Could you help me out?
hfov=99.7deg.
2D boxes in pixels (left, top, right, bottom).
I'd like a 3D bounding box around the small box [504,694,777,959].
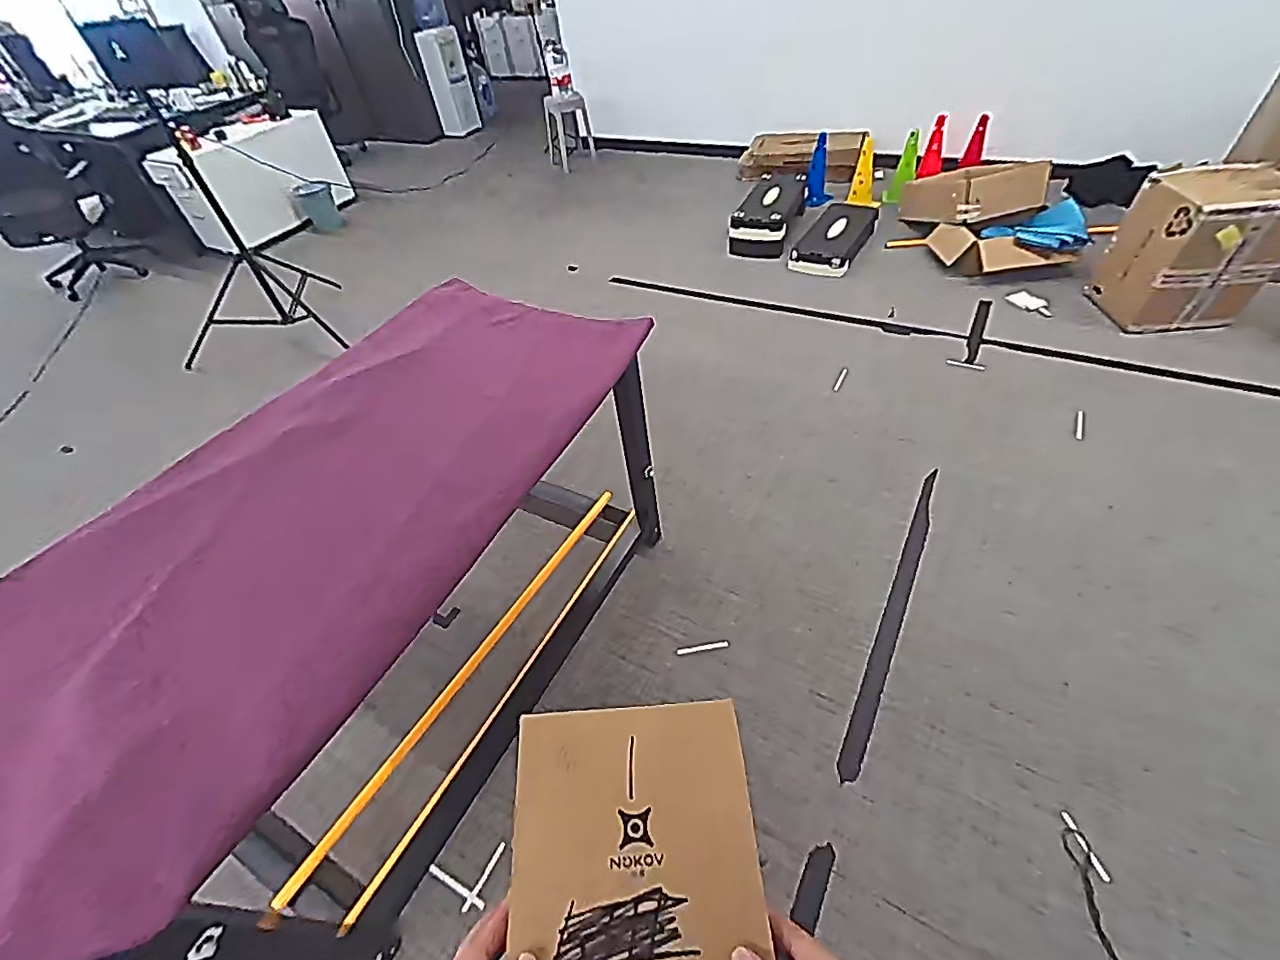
[{"bbox_3d":[-0.001,0.282,0.420,0.168,0.176,0.179,-4,53,-2],"label":"small box"}]
